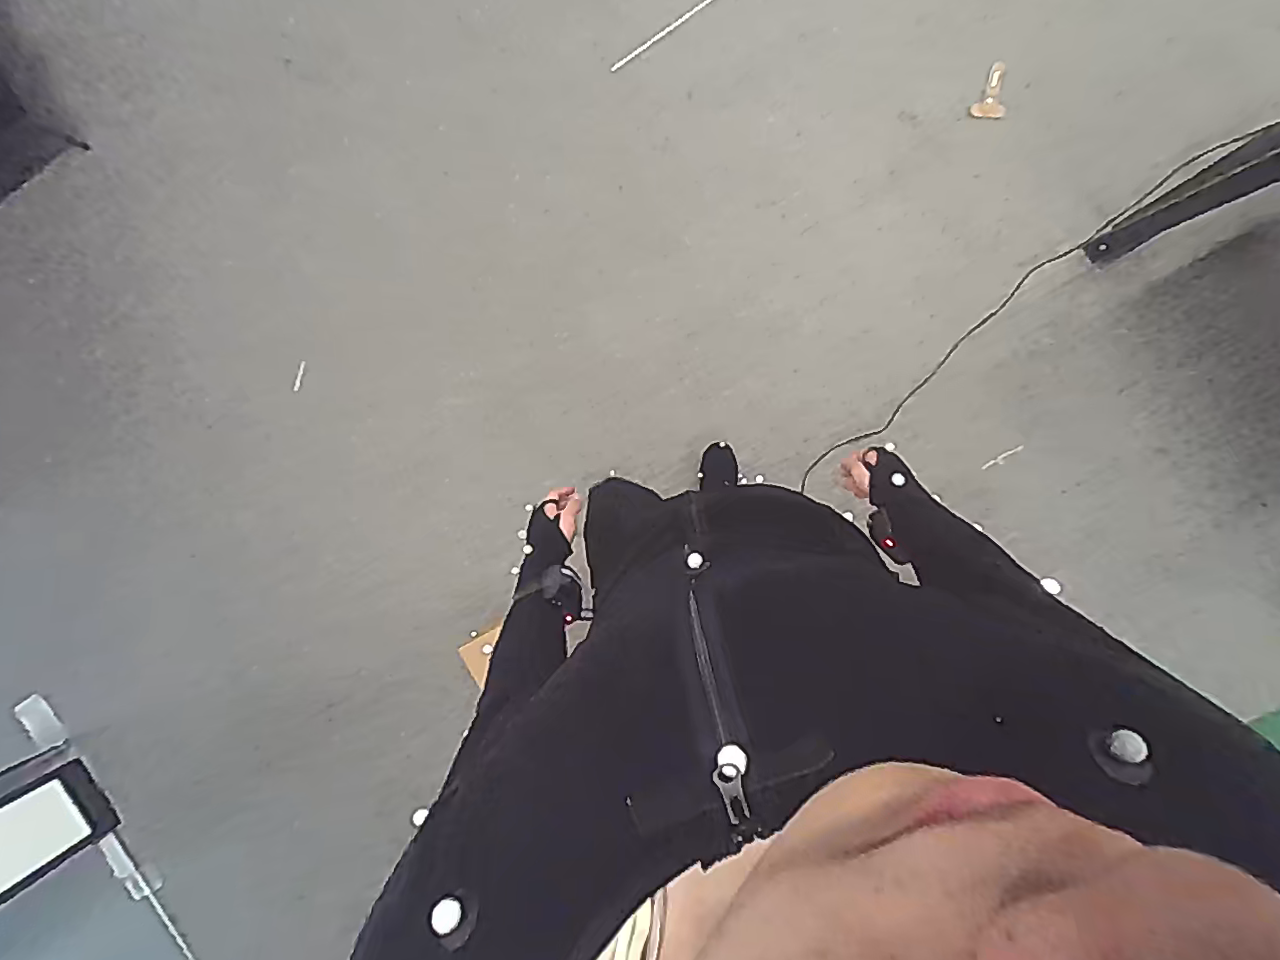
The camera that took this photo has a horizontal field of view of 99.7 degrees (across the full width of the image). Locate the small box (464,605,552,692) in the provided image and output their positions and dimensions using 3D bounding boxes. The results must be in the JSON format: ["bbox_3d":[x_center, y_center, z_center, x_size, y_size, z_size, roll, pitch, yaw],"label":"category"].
[{"bbox_3d":[-0.396,0.507,1.651,0.179,0.176,0.168,-29,91,8],"label":"small box"}]
